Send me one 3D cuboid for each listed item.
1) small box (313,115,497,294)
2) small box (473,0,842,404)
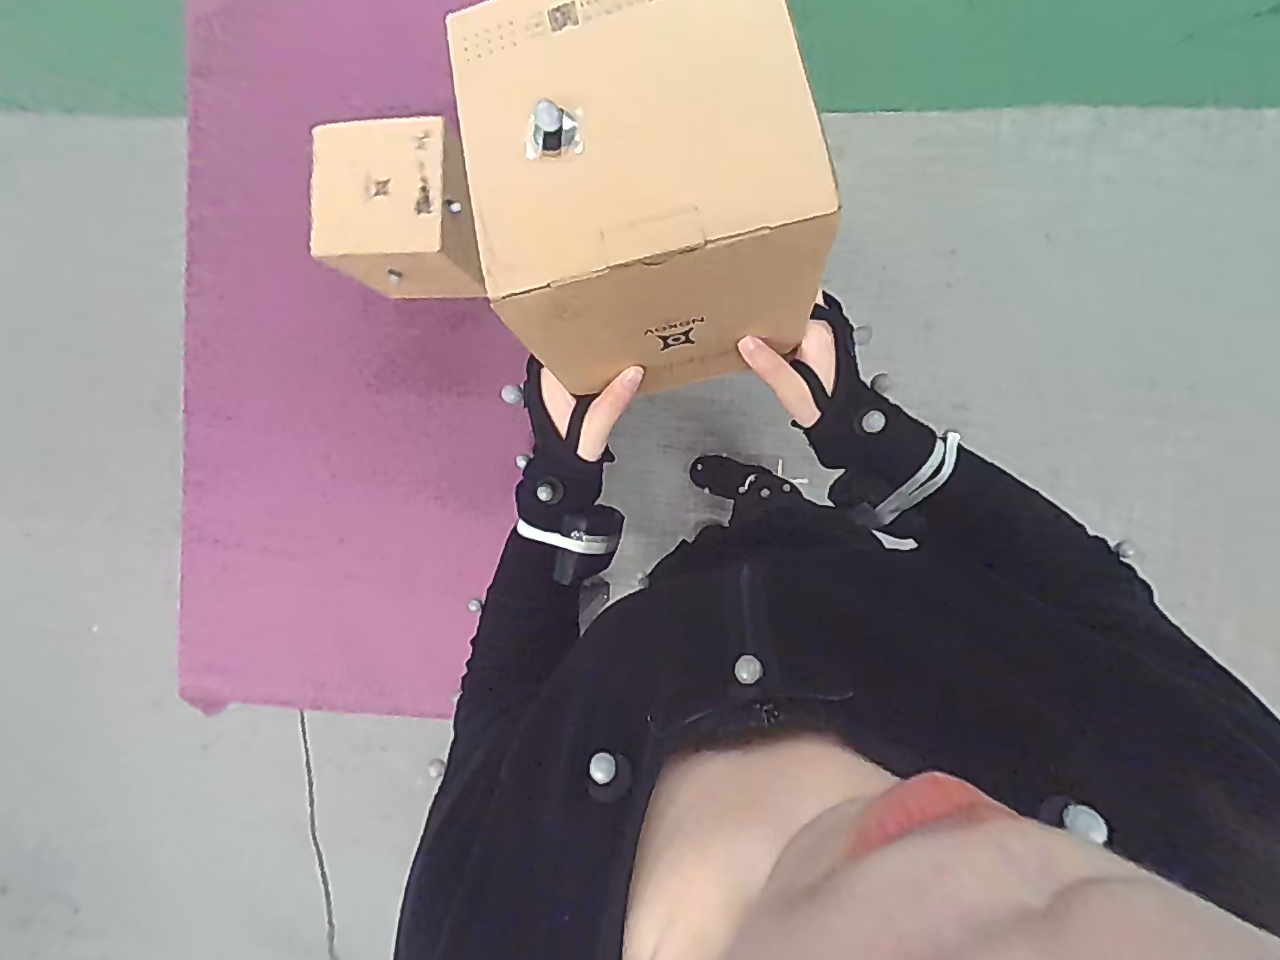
[{"bbox_3d":[-0.314,-0.364,0.748,0.179,0.176,0.168,1,92,9],"label":"small box"},{"bbox_3d":[0.010,-0.166,0.342,0.168,0.179,0.176,-10,80,7],"label":"small box"}]
